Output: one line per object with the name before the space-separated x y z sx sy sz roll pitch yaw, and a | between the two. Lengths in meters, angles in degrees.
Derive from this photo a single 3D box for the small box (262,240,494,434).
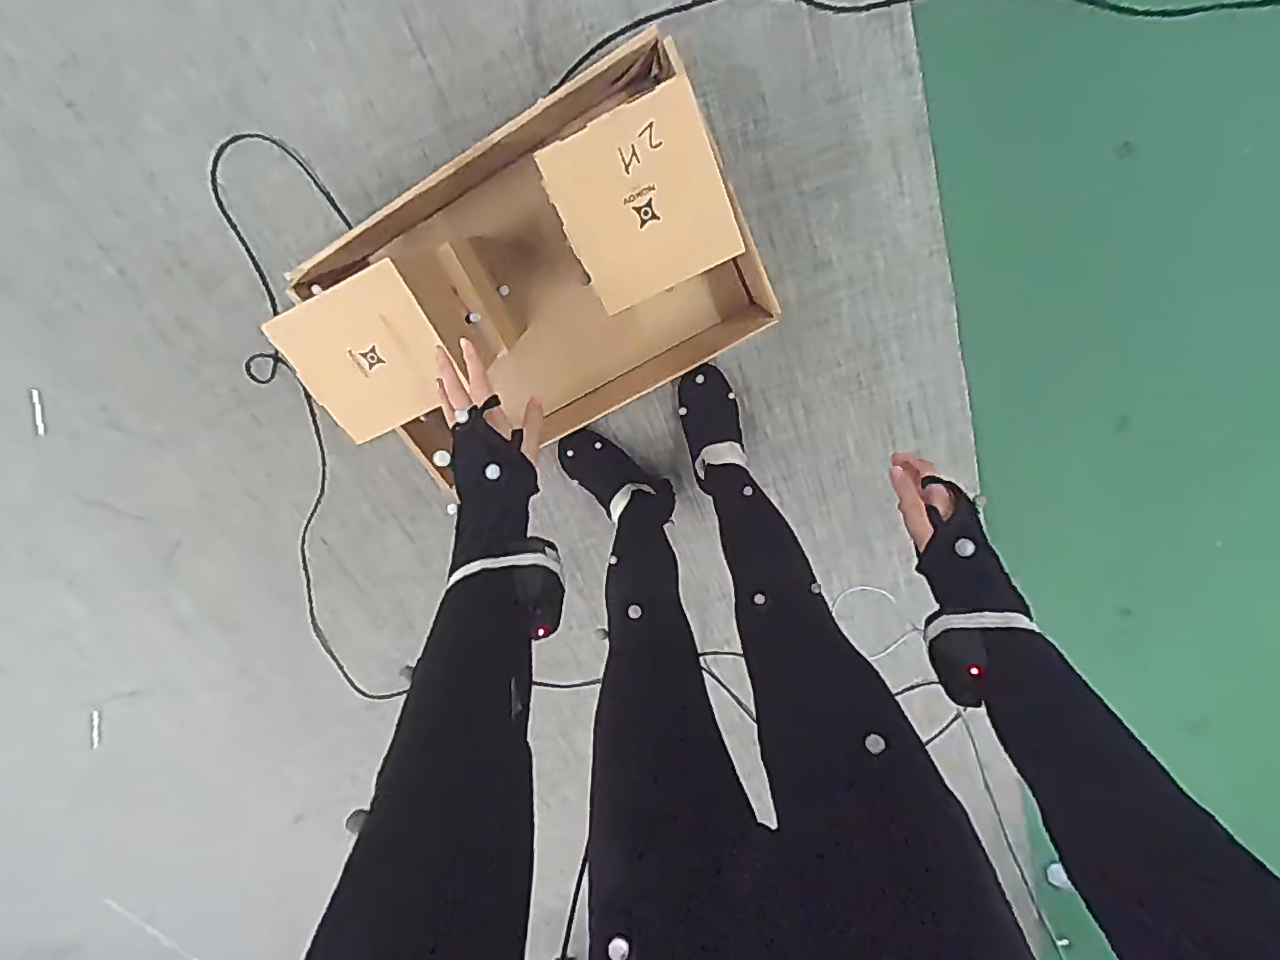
small box | -0.312 -0.187 0.687 0.179 0.176 0.168 -22 116 8

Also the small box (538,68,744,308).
small box | 0.004 -0.326 0.626 0.168 0.176 0.179 -22 114 8
